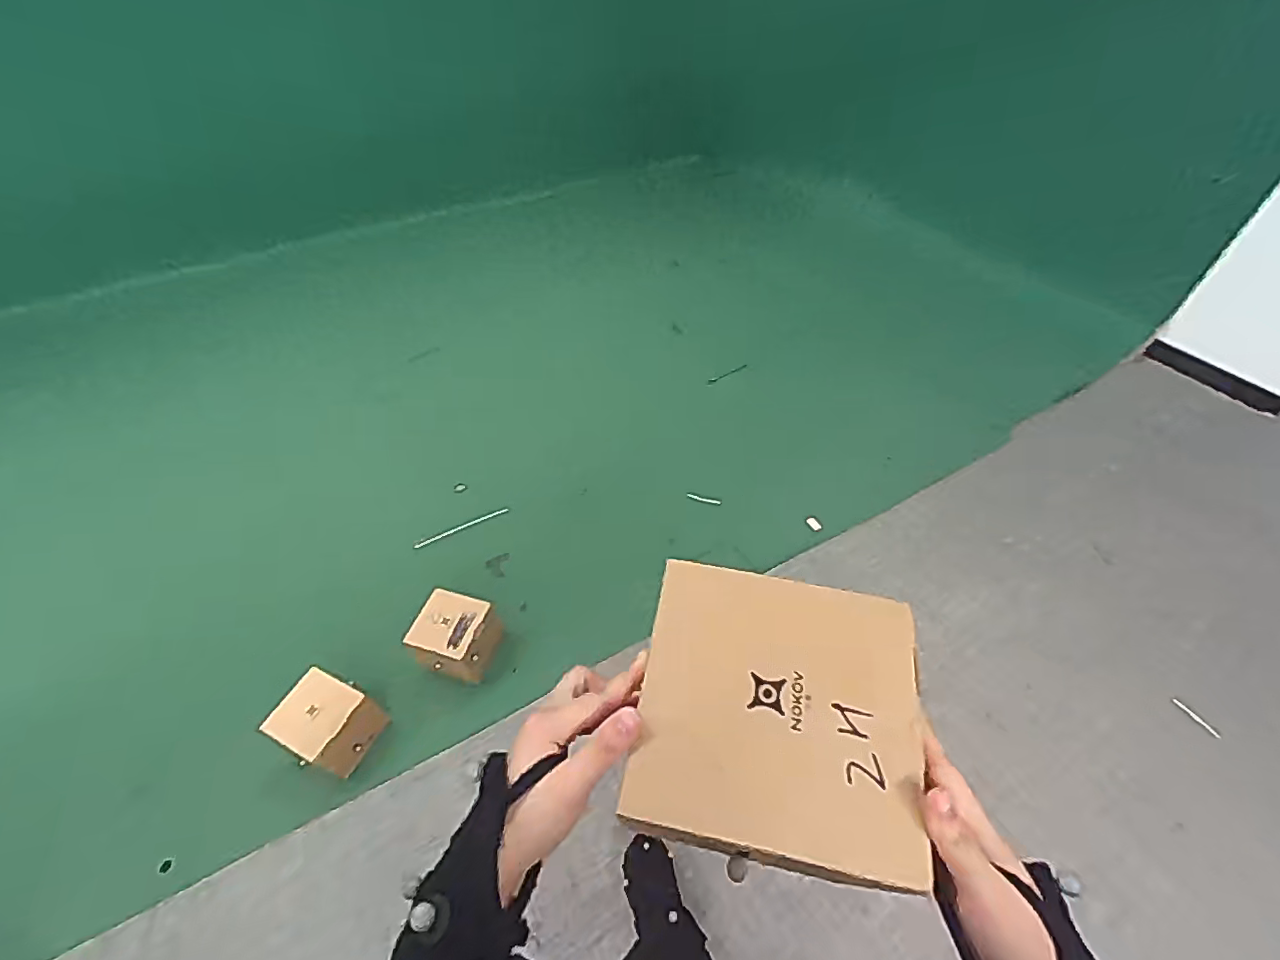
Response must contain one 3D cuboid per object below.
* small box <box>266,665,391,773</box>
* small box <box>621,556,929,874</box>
[{"bbox_3d":[-0.759,0.595,1.336,0.179,0.176,0.168,19,52,16],"label":"small box"},{"bbox_3d":[0.089,0.181,0.412,0.179,0.176,0.168,10,56,6],"label":"small box"}]
